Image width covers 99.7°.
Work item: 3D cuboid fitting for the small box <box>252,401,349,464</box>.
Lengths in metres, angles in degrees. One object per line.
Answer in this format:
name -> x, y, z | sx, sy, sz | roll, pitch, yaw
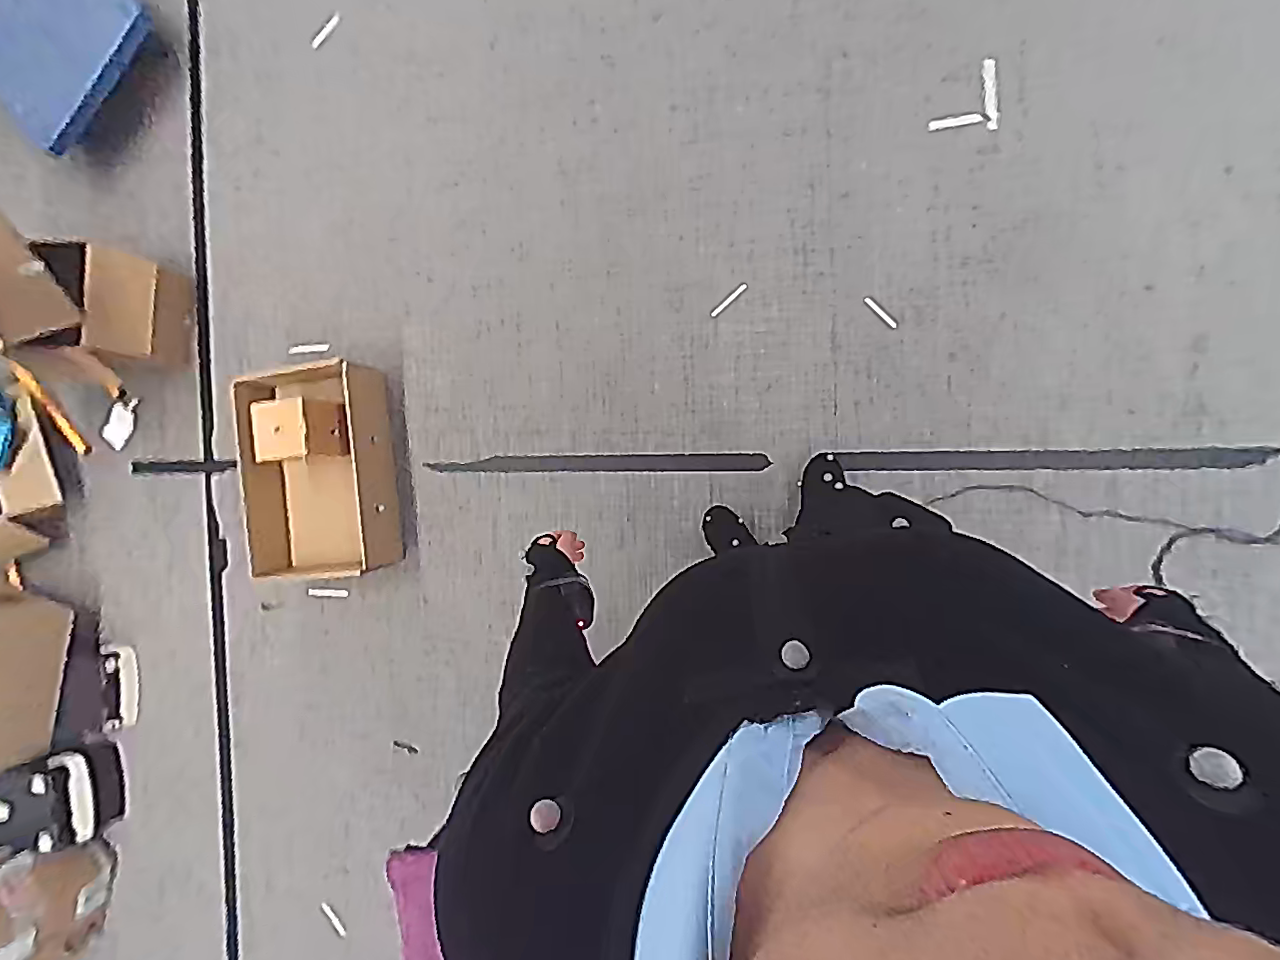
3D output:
small box -> -1.015, -0.138, 1.624 | 0.179, 0.176, 0.168 | -6, 90, 12
